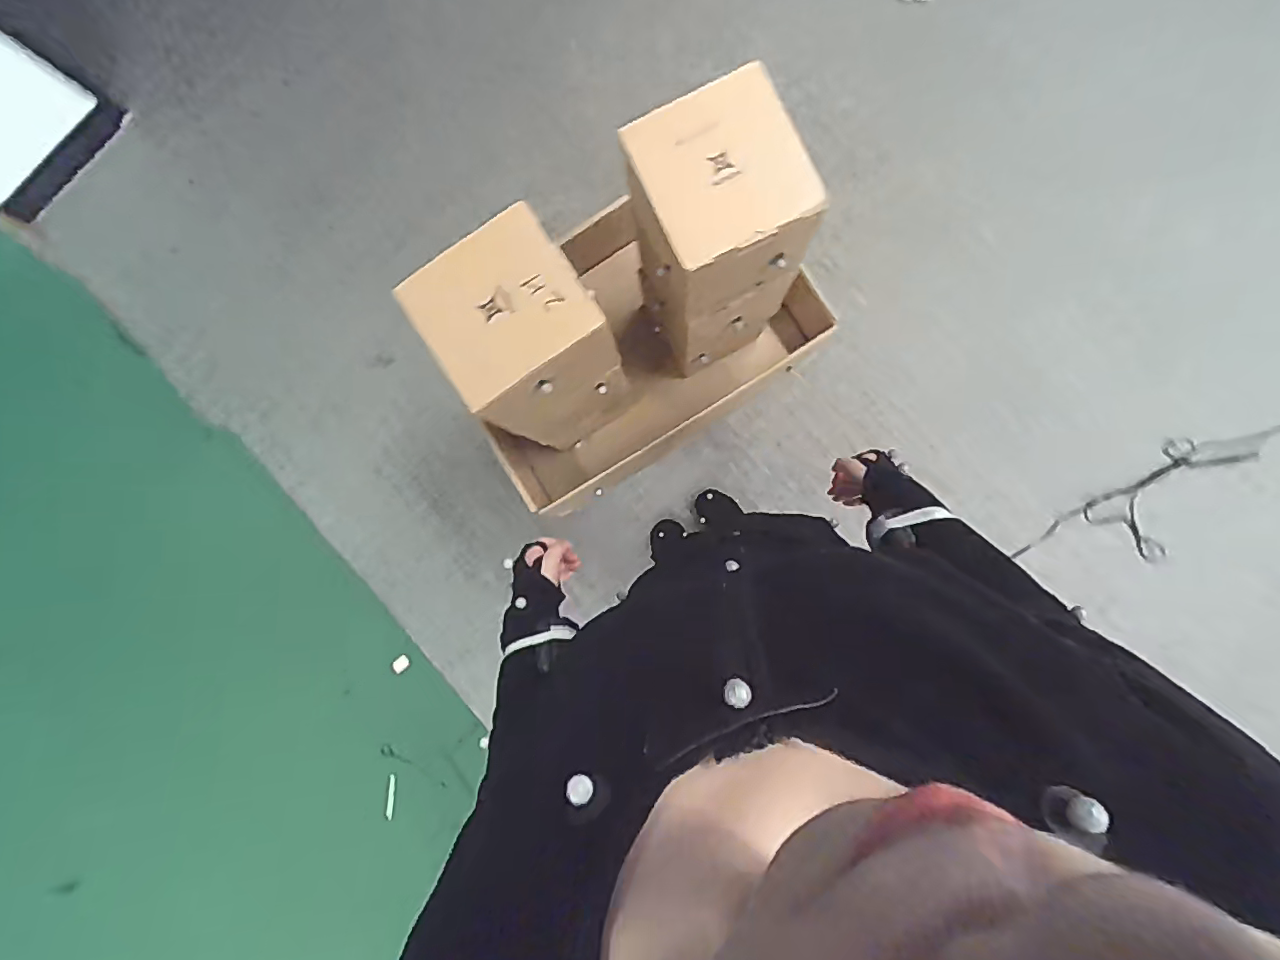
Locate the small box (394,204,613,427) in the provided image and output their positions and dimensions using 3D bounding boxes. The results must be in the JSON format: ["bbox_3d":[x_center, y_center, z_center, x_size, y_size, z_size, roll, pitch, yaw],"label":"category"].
[{"bbox_3d":[-0.151,-0.182,0.662,0.179,0.176,0.168,-34,86,1],"label":"small box"}]

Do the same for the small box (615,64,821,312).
[{"bbox_3d":[0.088,-0.323,0.645,0.168,0.176,0.179,-25,85,3],"label":"small box"}]

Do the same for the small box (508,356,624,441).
[{"bbox_3d":[-0.141,-0.176,0.826,0.179,0.176,0.168,-33,86,1],"label":"small box"}]
